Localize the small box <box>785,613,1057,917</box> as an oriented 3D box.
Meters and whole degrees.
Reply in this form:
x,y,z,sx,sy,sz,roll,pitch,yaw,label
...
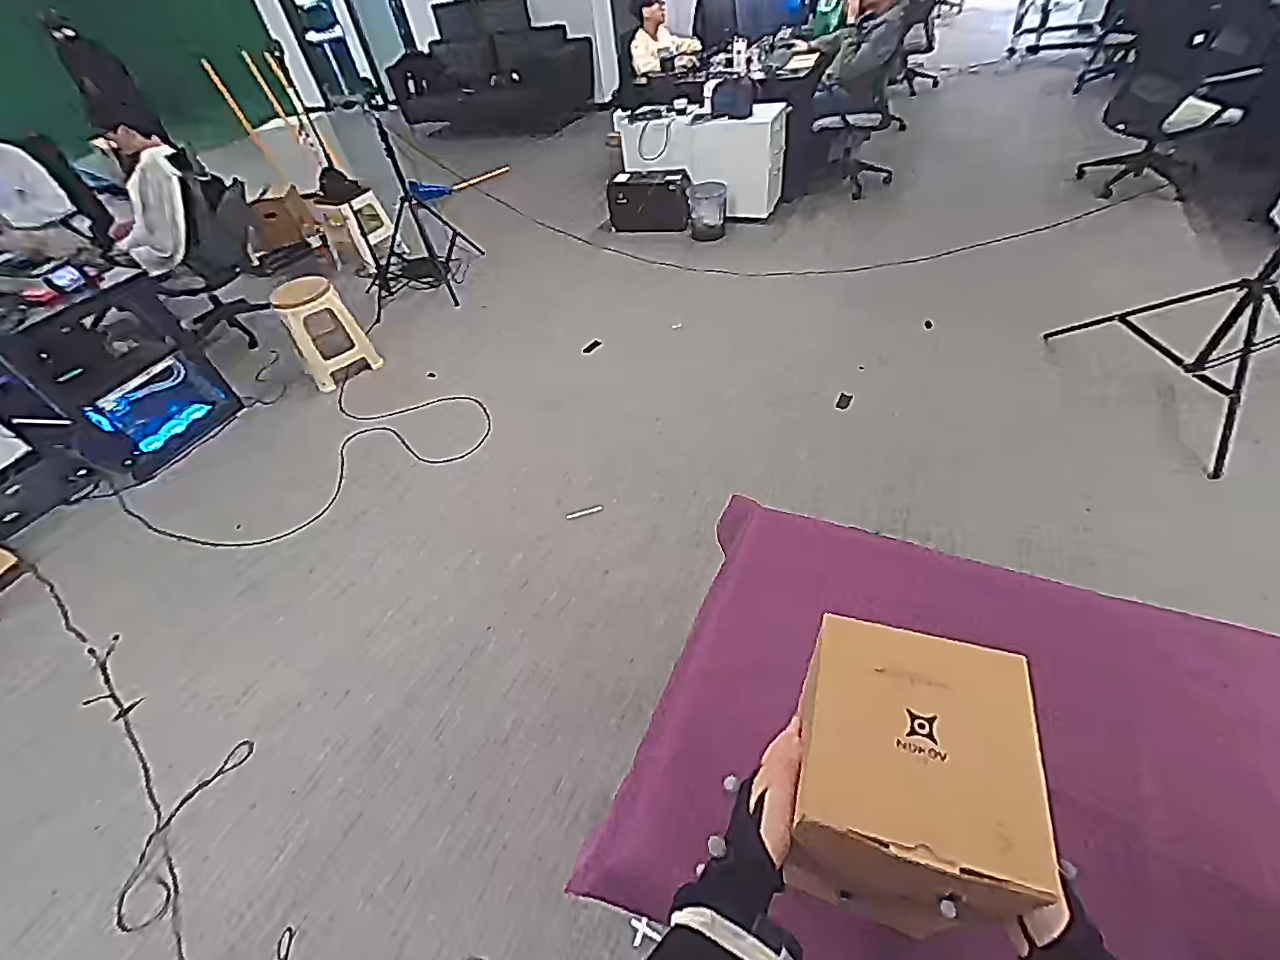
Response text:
x,y,z,sx,sy,sz,roll,pitch,yaw,label
0.228,0.252,0.482,0.168,0.176,0.179,10,48,16,small box

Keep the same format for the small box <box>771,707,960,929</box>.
x,y,z,sx,sy,sz,roll,pitch,yaw,label
0.246,0.361,0.603,0.168,0.176,0.179,12,48,18,small box
